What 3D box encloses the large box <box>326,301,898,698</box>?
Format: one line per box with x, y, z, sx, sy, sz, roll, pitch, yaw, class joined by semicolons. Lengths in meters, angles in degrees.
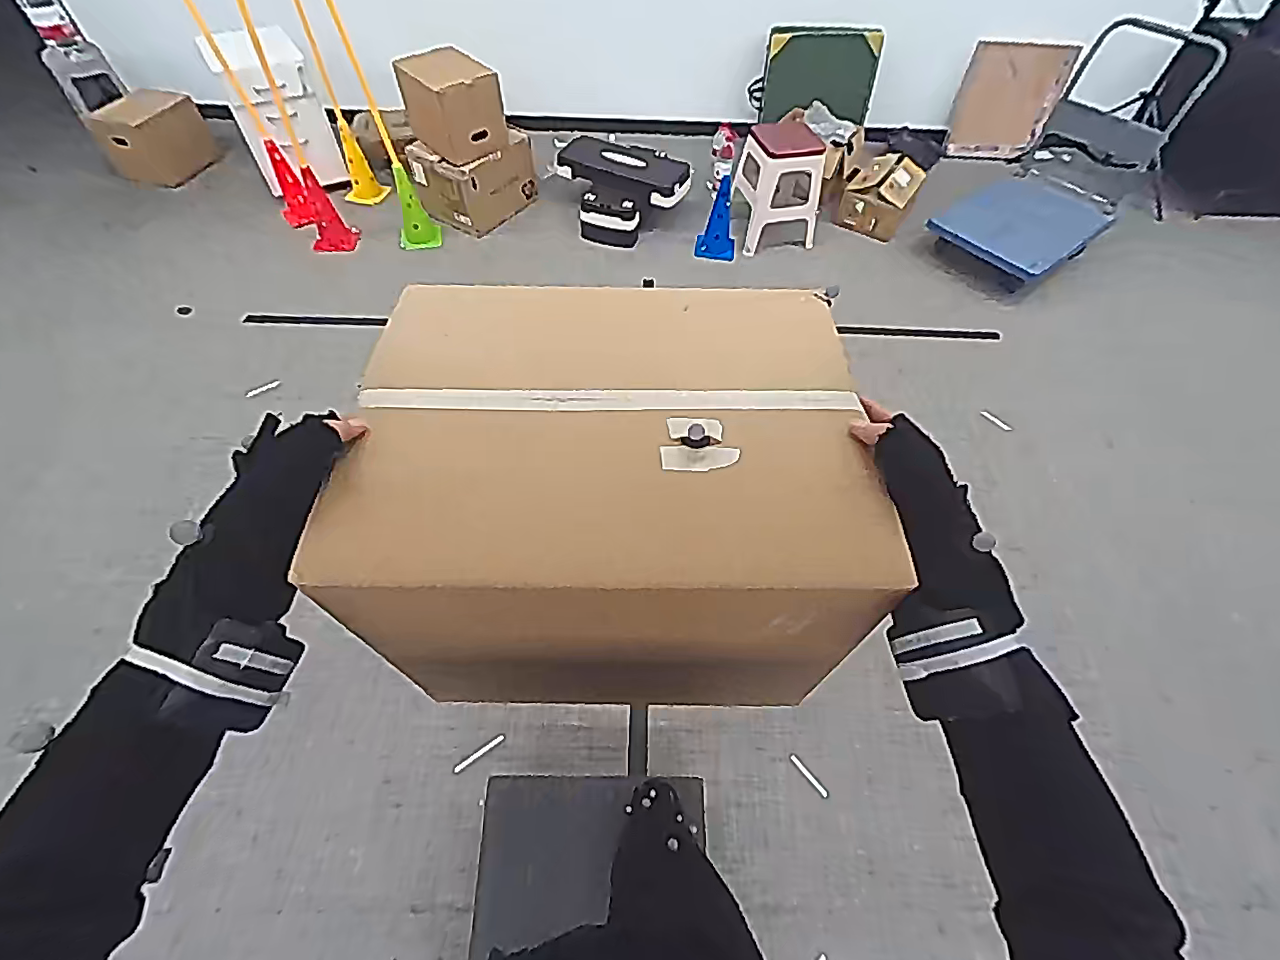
-0.022;0.033;0.576;0.408;0.320;0.320;1;55;-1;large box
